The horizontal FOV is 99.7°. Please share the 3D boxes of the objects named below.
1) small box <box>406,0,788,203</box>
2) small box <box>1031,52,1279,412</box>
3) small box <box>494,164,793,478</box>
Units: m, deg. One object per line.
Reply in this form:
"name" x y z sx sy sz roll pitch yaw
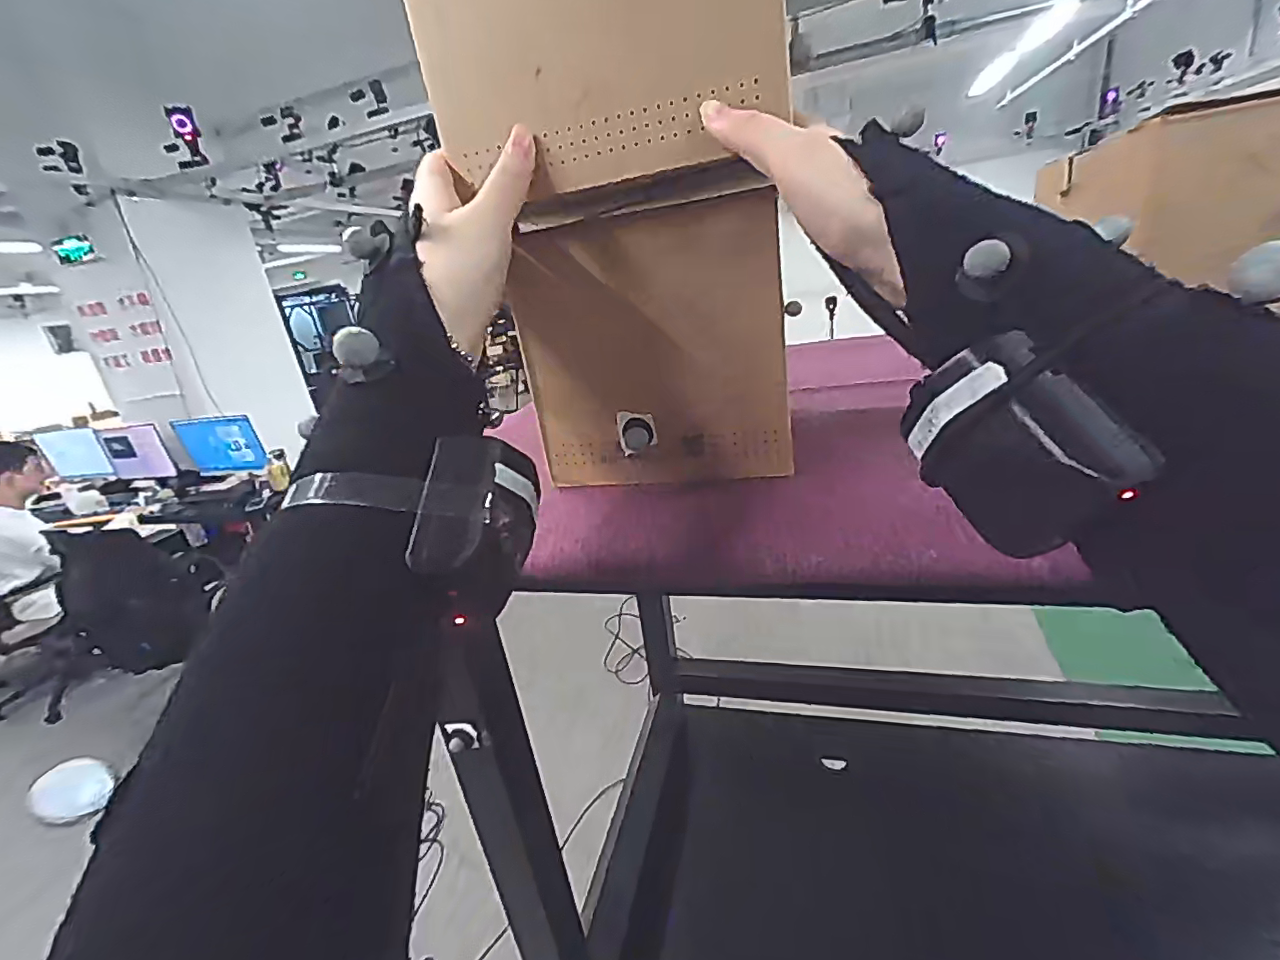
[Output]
"small box" -0.015 -0.259 0.300 0.179 0.176 0.168 -4 24 15
"small box" 0.362 -0.141 0.325 0.179 0.176 0.168 -1 21 18
"small box" 0.021 -0.111 0.398 0.168 0.176 0.179 -5 22 15
